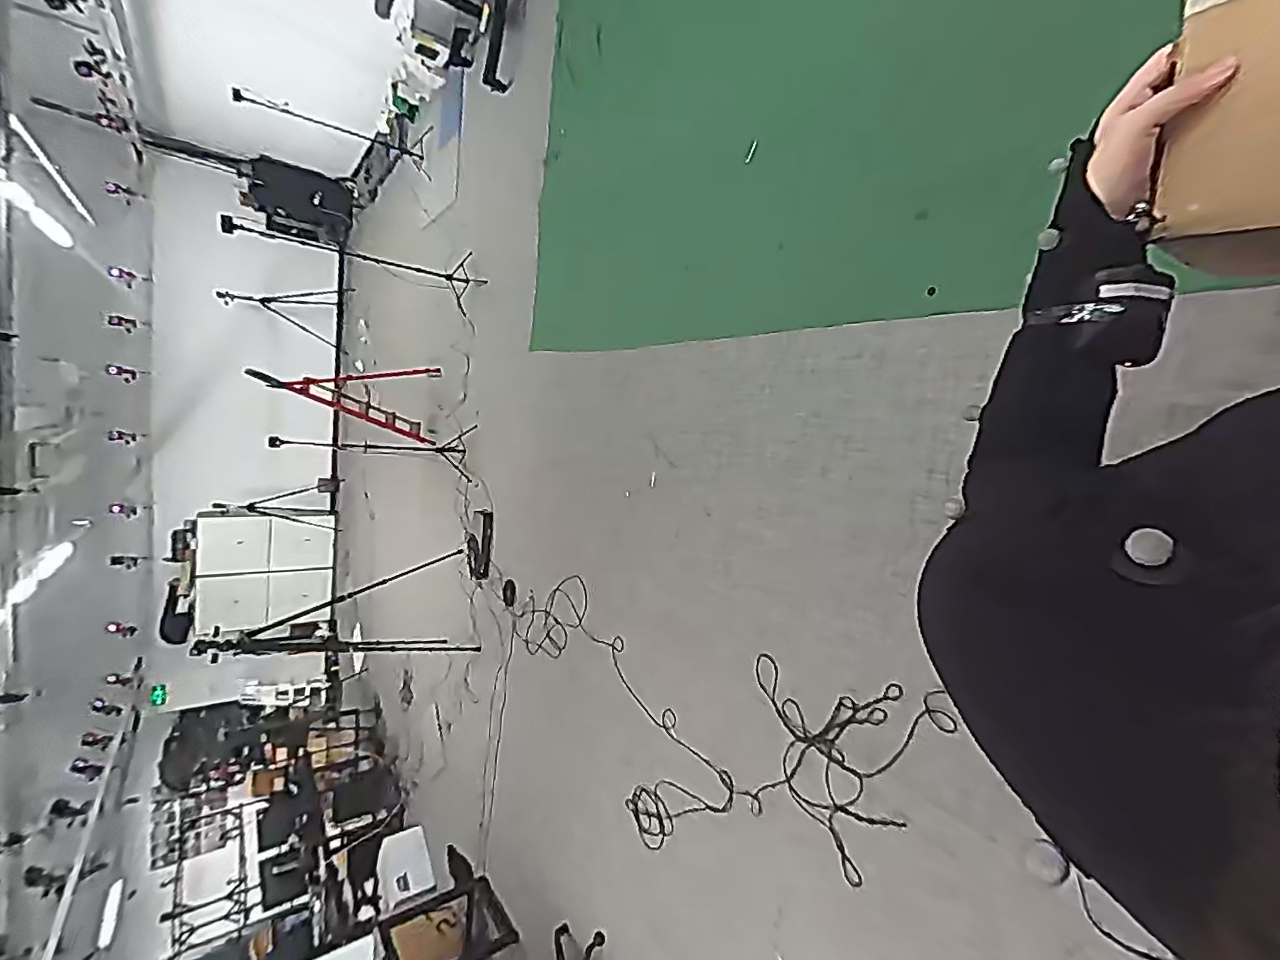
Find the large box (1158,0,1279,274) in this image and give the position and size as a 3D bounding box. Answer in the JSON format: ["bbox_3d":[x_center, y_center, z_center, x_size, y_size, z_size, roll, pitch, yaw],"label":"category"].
[{"bbox_3d":[0.636,-0.319,0.315,0.408,0.320,0.320,16,109,53],"label":"large box"}]
